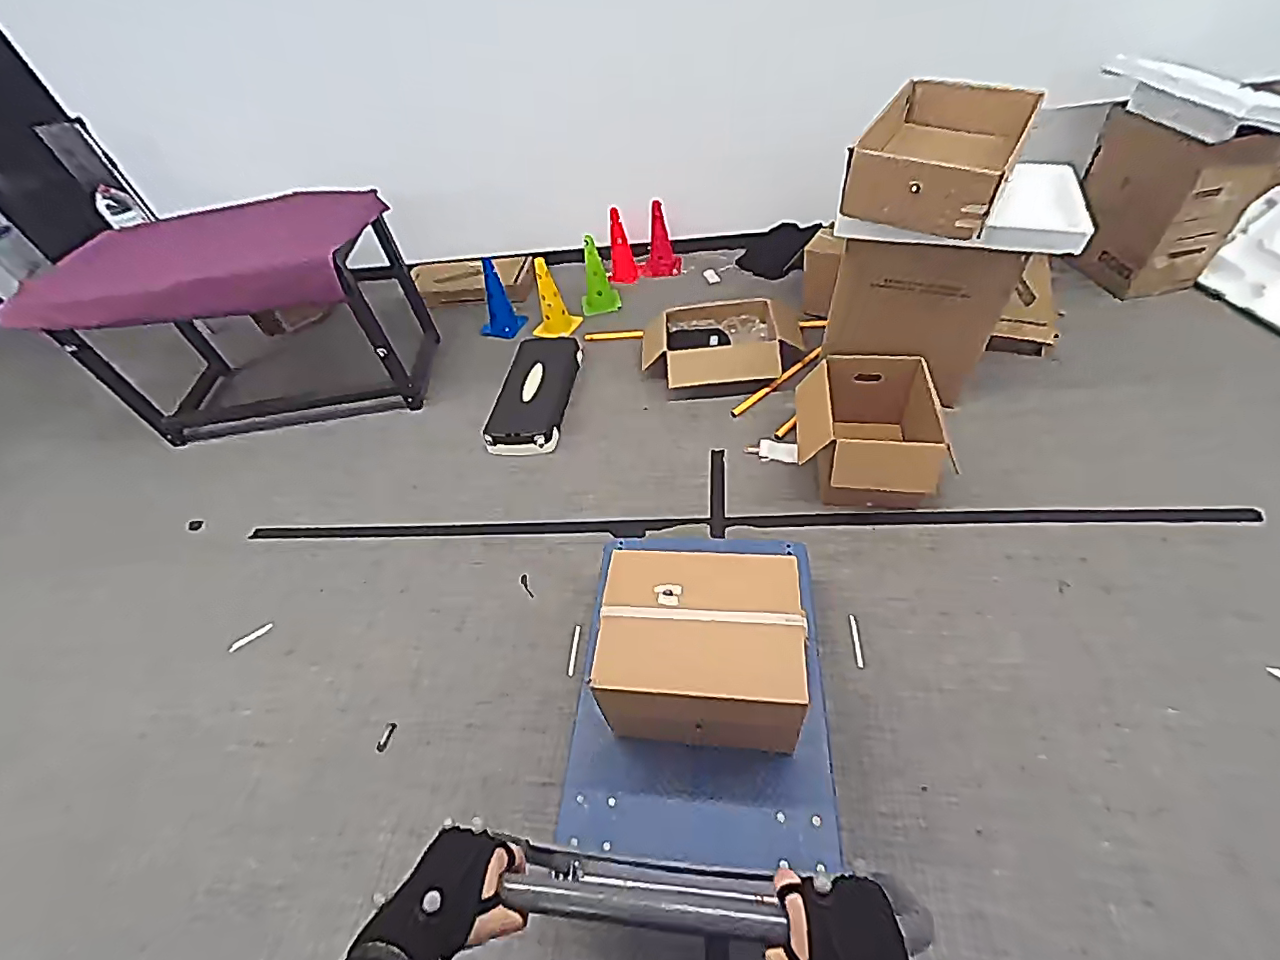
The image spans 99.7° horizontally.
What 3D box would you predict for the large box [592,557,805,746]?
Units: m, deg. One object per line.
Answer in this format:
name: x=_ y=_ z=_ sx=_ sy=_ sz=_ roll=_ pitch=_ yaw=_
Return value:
large box: x=0.138 y=0.384 z=1.212 sx=0.408 sy=0.320 sz=0.320 roll=0 pitch=48 yaw=10
